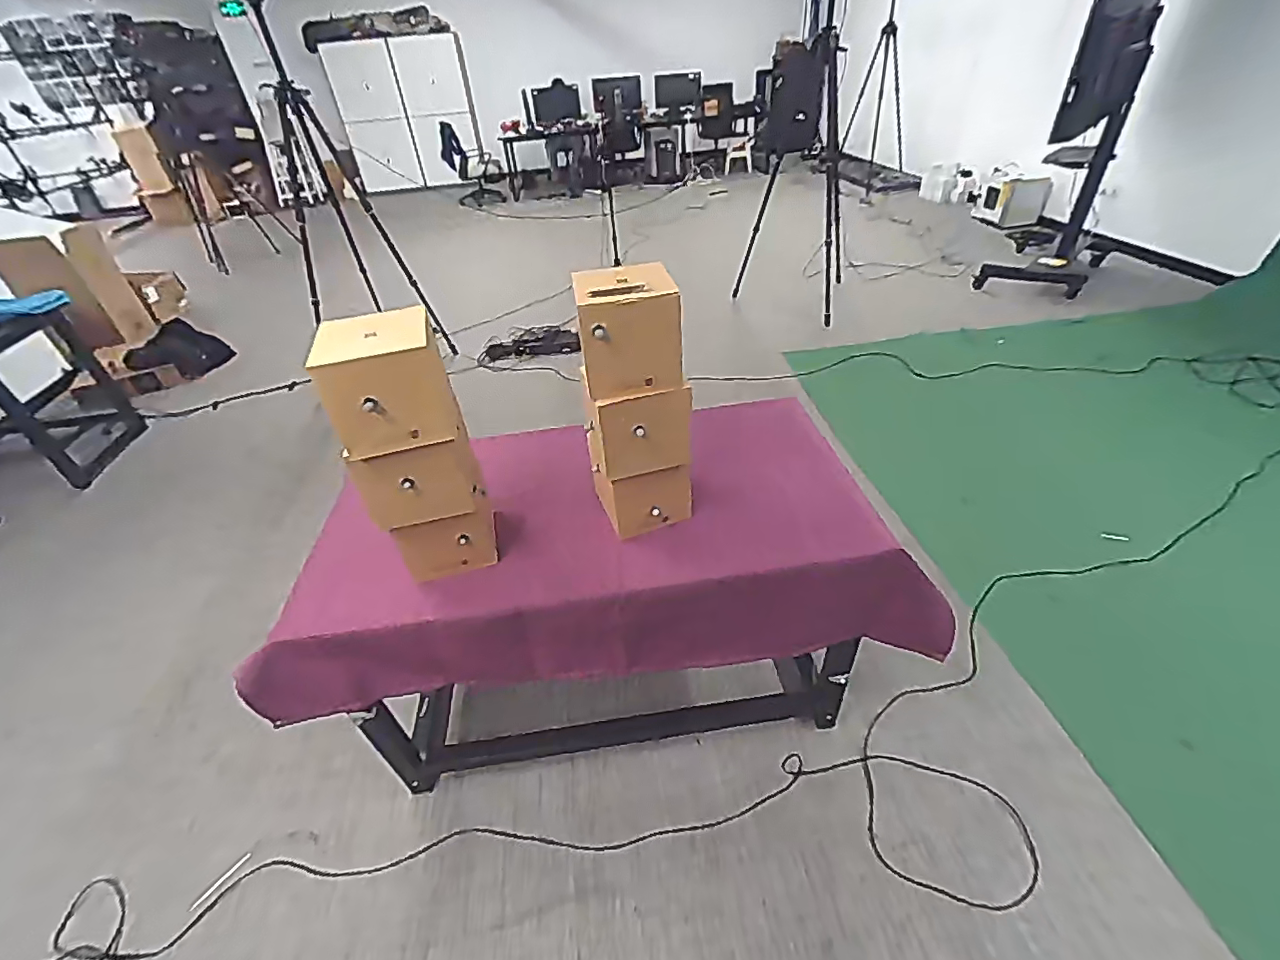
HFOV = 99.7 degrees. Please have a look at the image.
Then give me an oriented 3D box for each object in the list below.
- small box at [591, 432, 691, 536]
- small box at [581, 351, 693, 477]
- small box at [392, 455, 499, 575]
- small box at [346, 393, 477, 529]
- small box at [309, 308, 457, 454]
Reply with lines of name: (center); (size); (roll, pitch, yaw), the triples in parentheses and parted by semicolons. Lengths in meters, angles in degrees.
small box: (0.003, -0.009, 1.161); (0.168, 0.176, 0.179); (-16, 40, -12)
small box: (-0.004, -0.125, 1.044); (0.179, 0.176, 0.168); (-13, 39, -9)
small box: (-0.391, 0.076, 1.110); (0.168, 0.176, 0.179); (-11, 38, -9)
small box: (-0.402, -0.035, 0.987); (0.179, 0.176, 0.168); (-12, 39, -9)
small box: (-0.403, -0.156, 0.878); (0.168, 0.176, 0.179); (-14, 39, -12)
